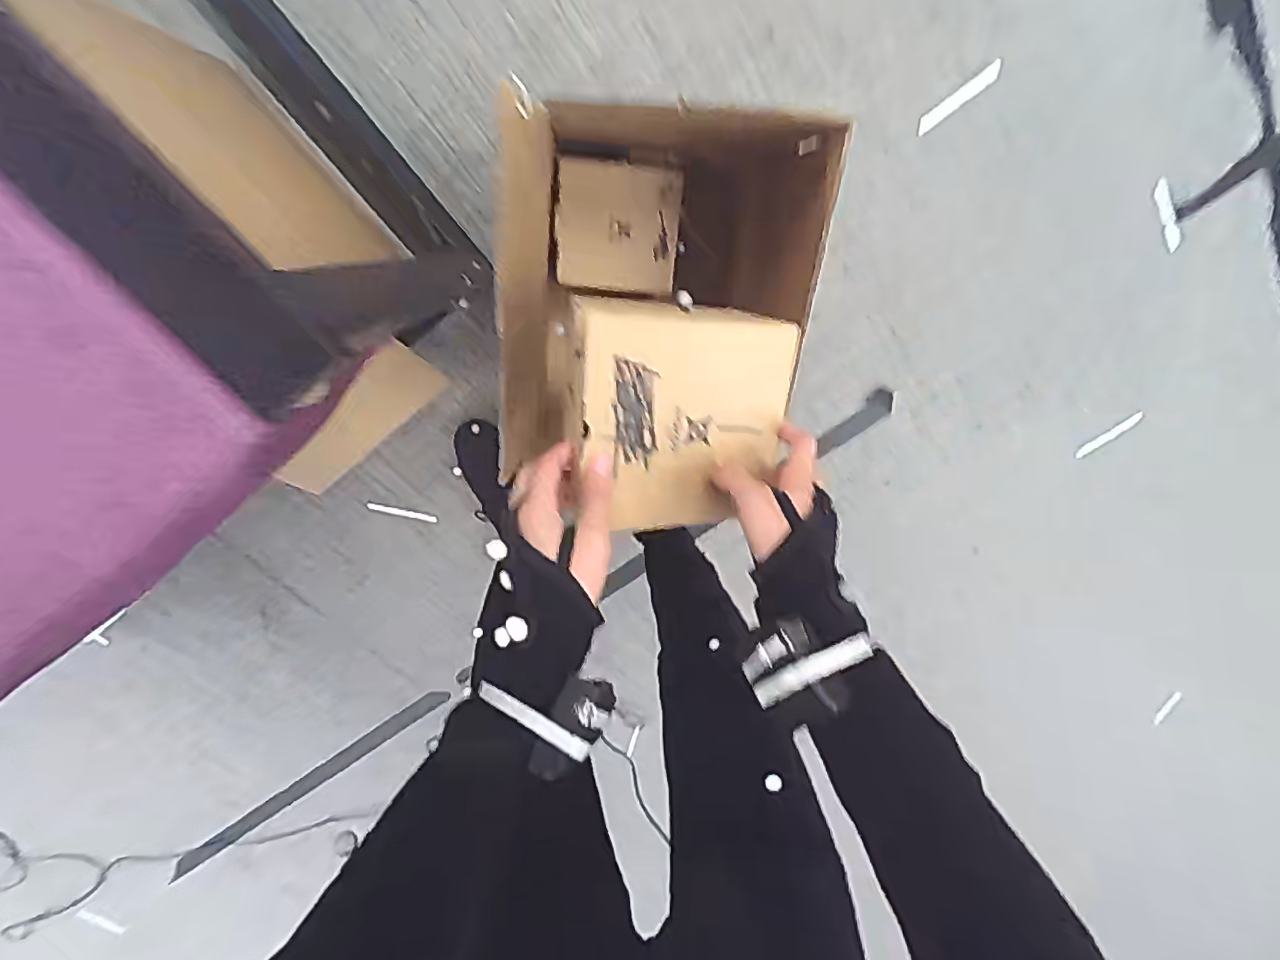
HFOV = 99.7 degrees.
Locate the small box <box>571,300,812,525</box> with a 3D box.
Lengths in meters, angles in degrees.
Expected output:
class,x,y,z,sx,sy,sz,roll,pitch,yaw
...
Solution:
class,x,y,z,sx,sy,sz,roll,pitch,yaw
small box,0.028,-0.071,0.498,0.179,0.176,0.168,2,111,-10
